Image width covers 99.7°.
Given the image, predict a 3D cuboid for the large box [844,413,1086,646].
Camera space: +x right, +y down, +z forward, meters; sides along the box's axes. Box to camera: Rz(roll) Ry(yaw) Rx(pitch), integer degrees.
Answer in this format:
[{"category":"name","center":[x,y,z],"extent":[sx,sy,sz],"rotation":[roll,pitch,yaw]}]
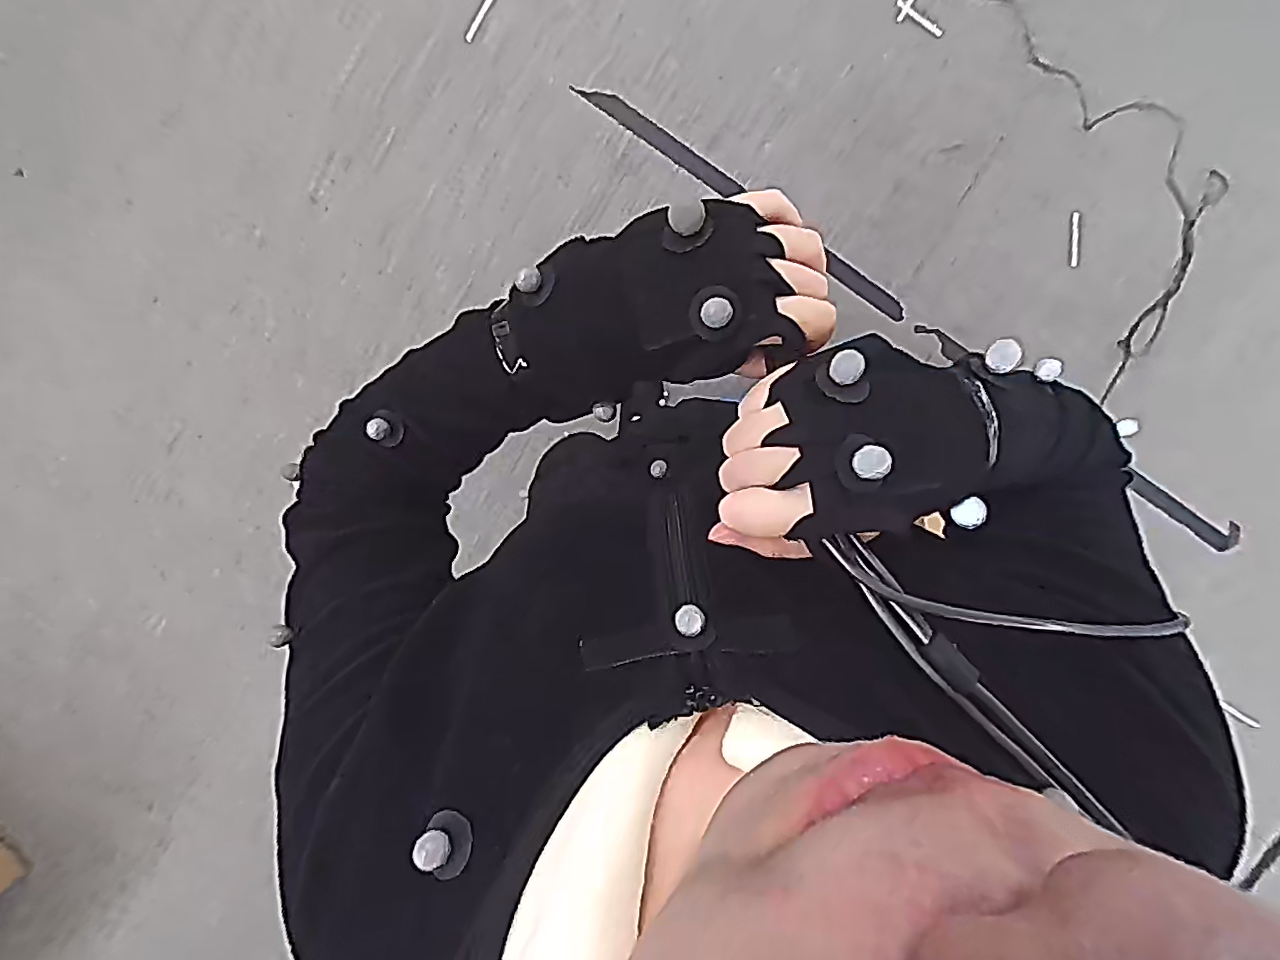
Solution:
[{"category":"large box","center":[0.697,0.085,1.204],"extent":[0.320,0.320,0.408],"rotation":[-14,100,0]}]
